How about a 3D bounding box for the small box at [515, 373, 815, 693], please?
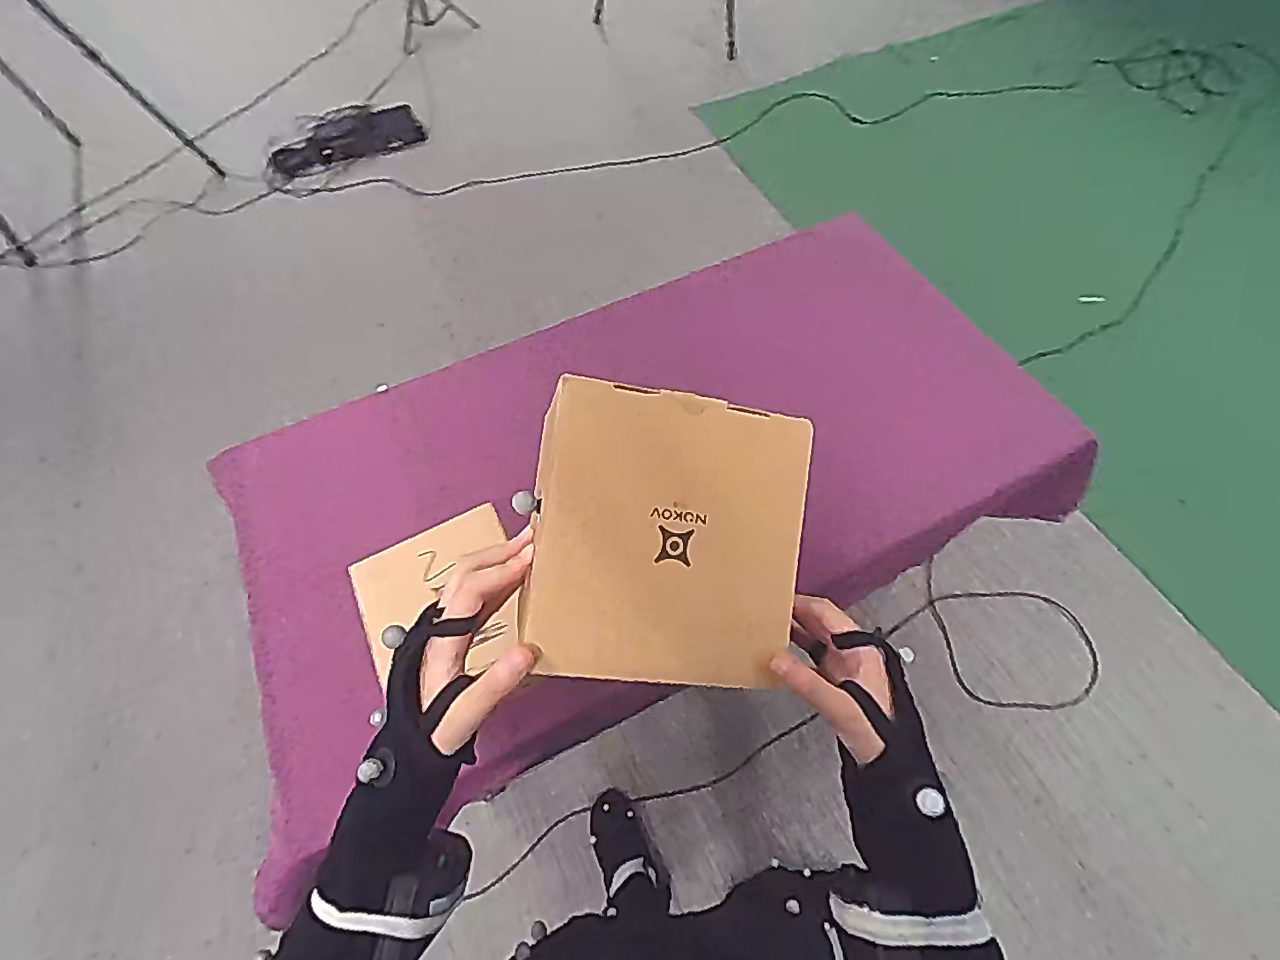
[{"bbox_3d":[0.005,0.037,0.405,0.168,0.176,0.179,9,86,-12],"label":"small box"}]
